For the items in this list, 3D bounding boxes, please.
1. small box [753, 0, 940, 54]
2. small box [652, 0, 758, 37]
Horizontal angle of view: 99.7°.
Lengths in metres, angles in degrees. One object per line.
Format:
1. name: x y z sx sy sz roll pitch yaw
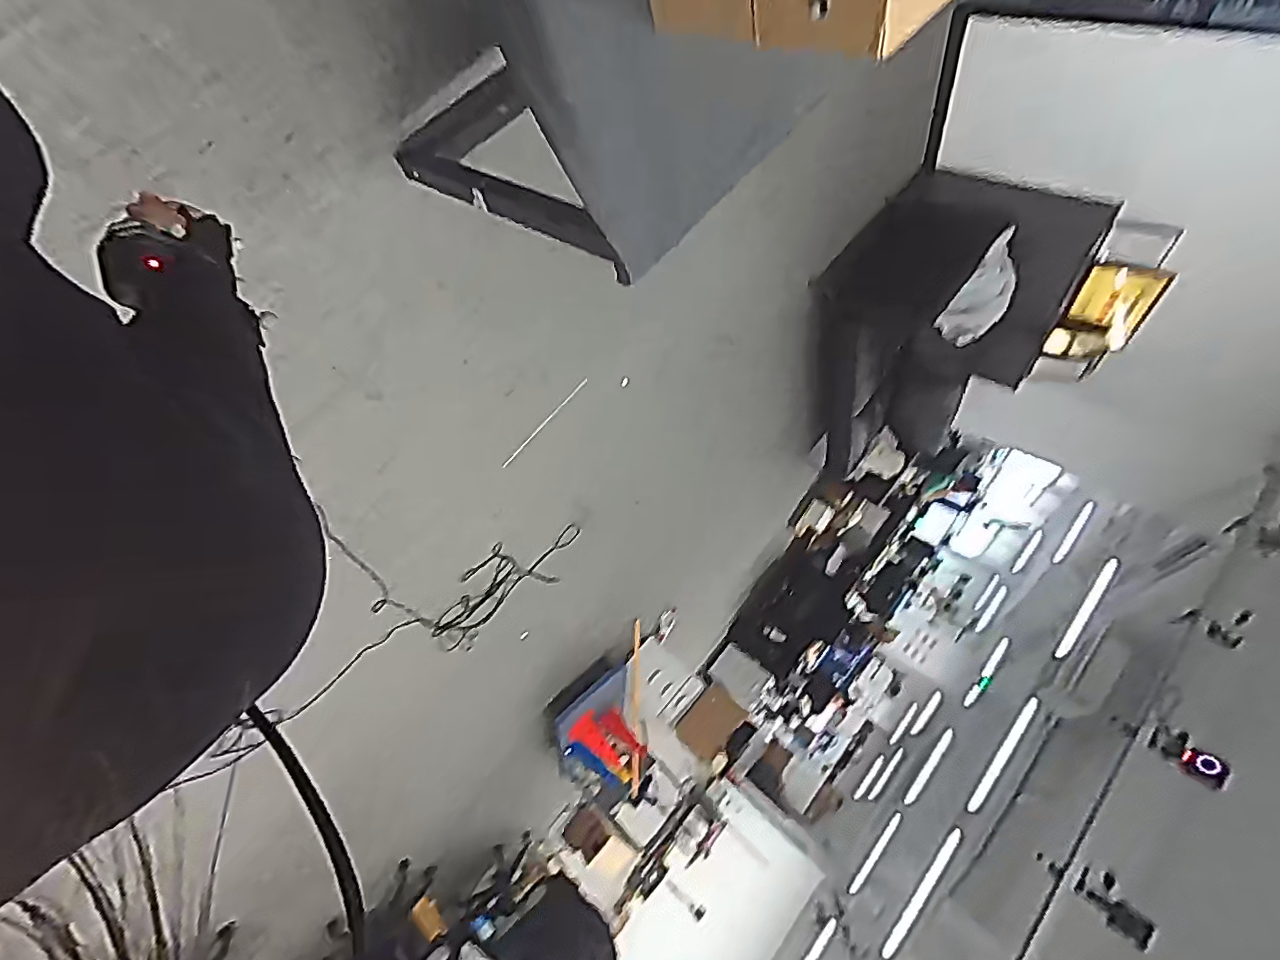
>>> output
1. small box: 0.233 -0.593 0.573 0.179 0.176 0.168 -48 151 -15
2. small box: 0.113 -0.675 0.647 0.179 0.176 0.168 -49 151 -12
